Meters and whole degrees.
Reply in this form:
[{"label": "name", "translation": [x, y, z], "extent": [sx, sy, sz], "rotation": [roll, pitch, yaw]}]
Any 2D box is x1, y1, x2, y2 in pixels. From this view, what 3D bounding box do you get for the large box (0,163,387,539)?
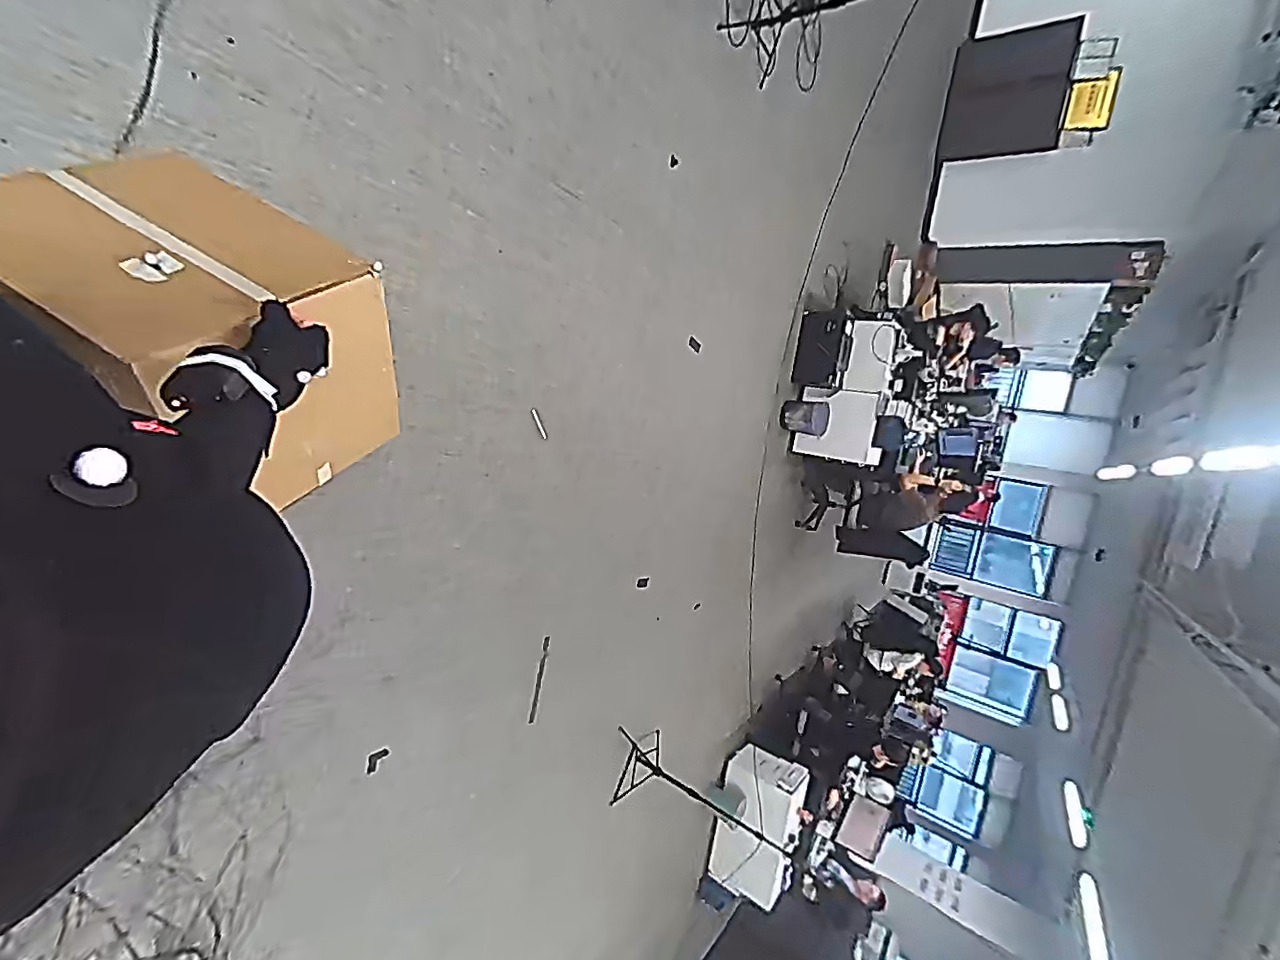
[{"label": "large box", "translation": [-0.642, -0.191, 0.777], "extent": [0.320, 0.408, 0.320], "rotation": [-51, 167, -42]}]
